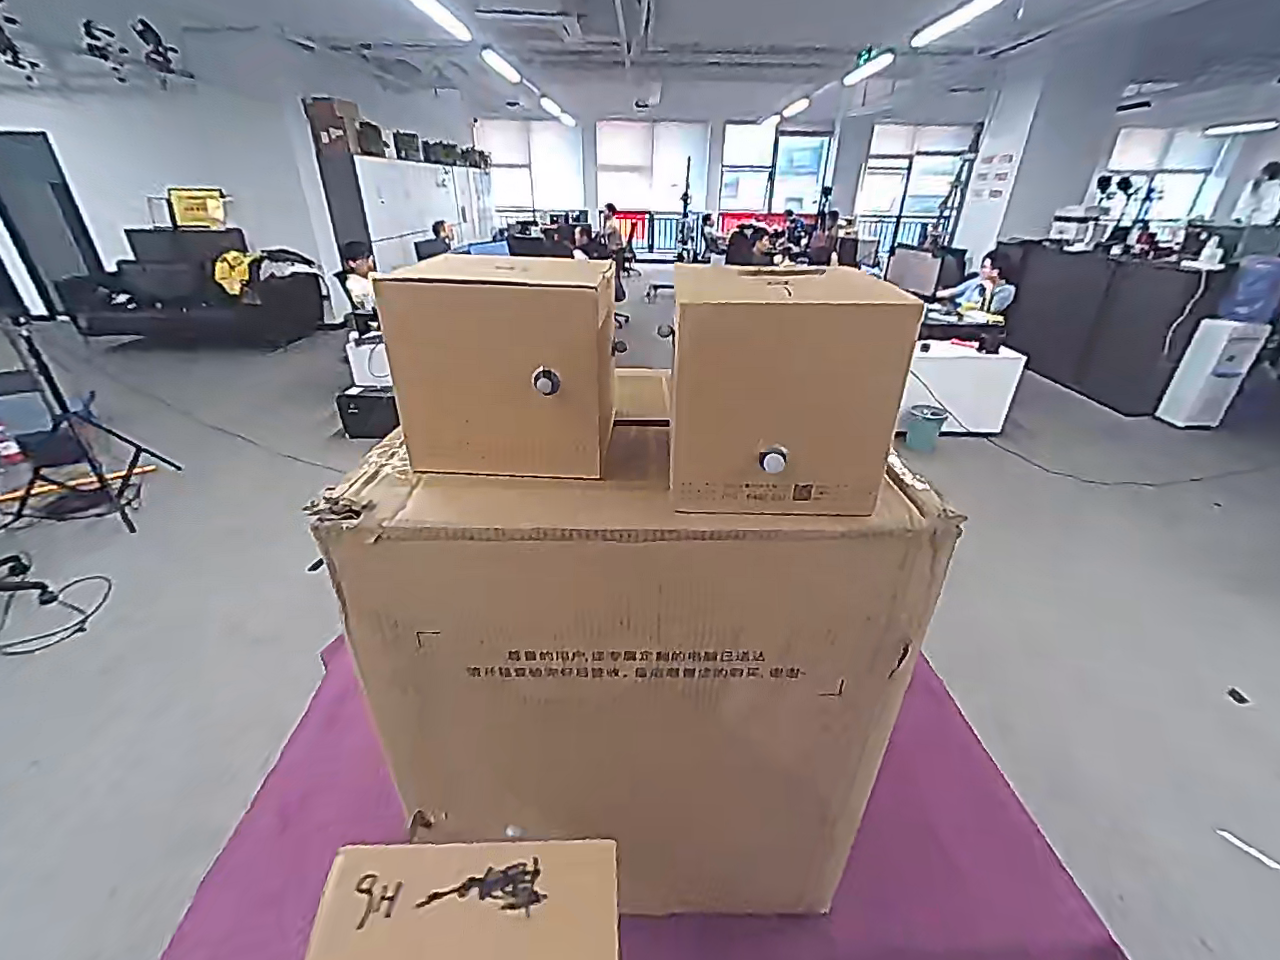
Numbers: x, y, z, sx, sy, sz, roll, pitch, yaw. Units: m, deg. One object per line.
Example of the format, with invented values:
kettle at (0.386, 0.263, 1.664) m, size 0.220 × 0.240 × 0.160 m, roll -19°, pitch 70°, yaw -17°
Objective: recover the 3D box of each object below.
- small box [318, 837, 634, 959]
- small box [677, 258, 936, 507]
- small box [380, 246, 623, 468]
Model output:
small box at (-0.096, 0.331, 0.317) m, size 0.168 × 0.176 × 0.179 m, roll 6°, pitch 44°, yaw -9°
small box at (0.117, -0.093, 0.468) m, size 0.168 × 0.176 × 0.179 m, roll 1°, pitch 28°, yaw 3°
small box at (-0.108, -0.120, 0.510) m, size 0.179 × 0.176 × 0.168 m, roll 2°, pitch 27°, yaw 1°
